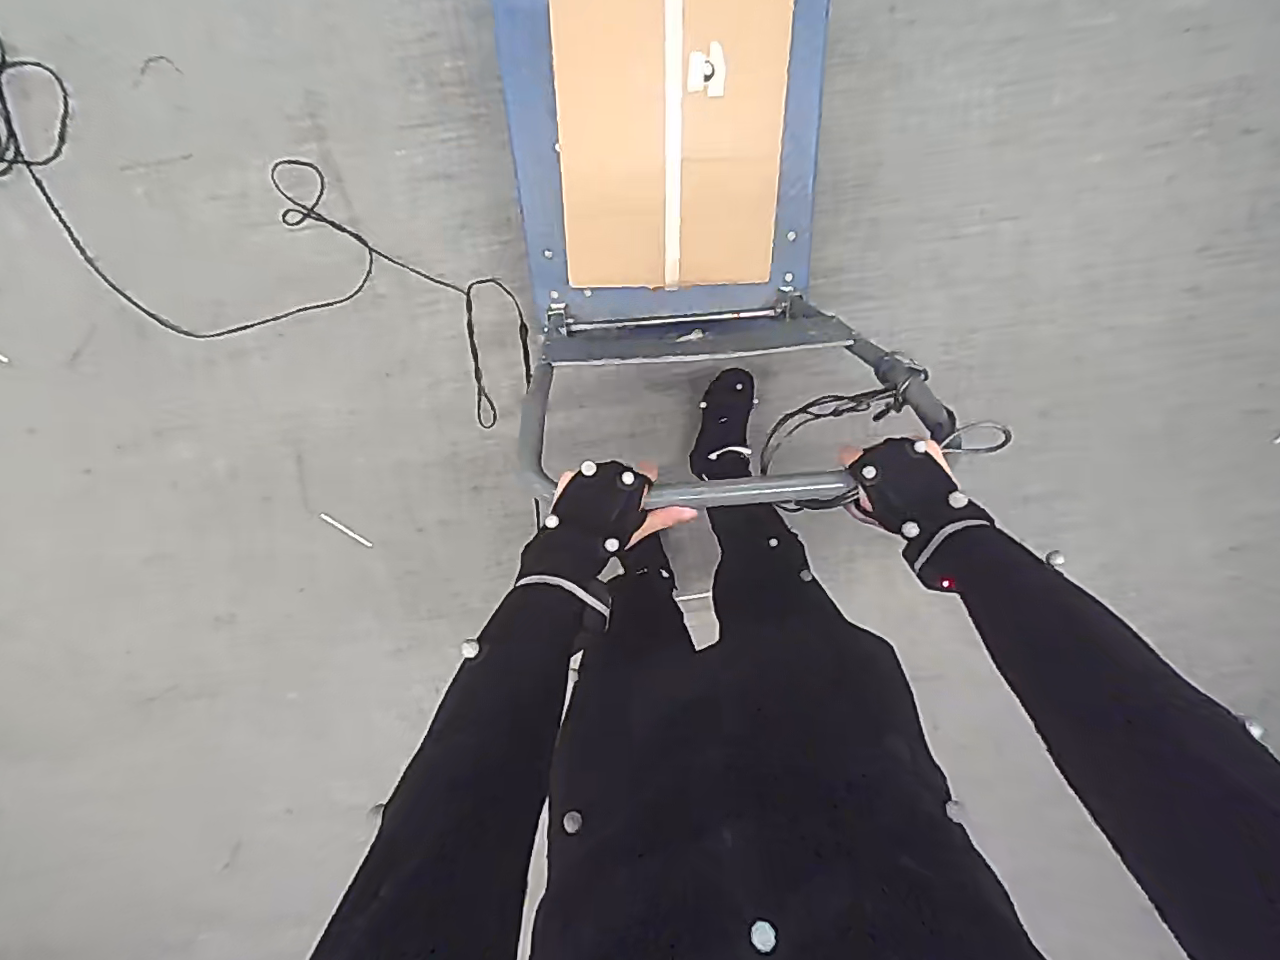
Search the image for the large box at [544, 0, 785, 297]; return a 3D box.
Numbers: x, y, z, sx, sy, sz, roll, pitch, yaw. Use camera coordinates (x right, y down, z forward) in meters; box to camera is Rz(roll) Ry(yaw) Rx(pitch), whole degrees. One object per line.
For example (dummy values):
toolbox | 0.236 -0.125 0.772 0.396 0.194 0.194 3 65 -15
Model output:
large box | 0.033 -0.531 0.887 0.320 0.320 0.408 -2 116 -3
